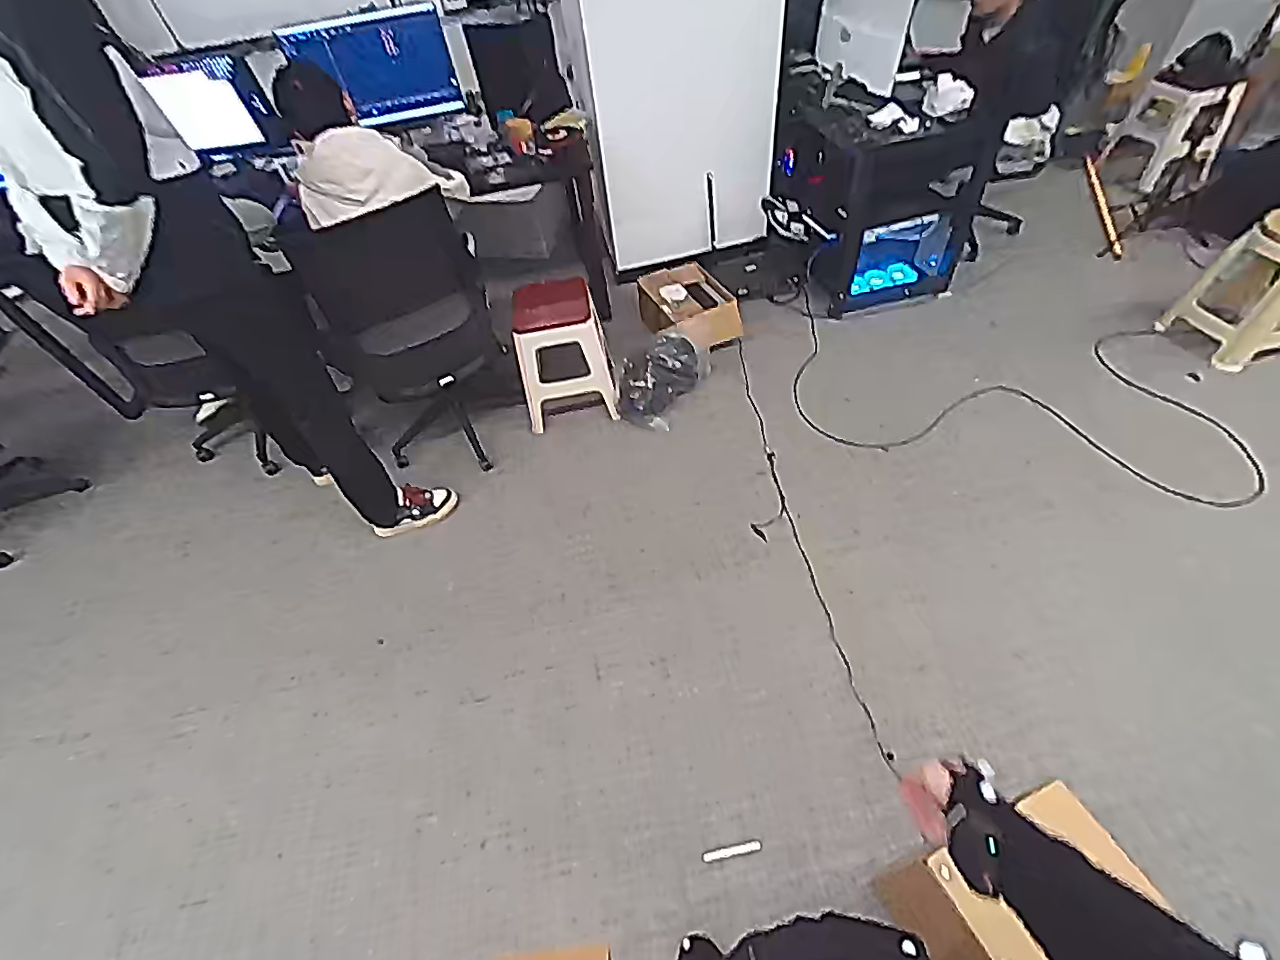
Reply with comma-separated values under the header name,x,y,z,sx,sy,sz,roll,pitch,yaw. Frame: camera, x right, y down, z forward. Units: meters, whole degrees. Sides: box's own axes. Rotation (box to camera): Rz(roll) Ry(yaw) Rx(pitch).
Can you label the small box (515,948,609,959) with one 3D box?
name,x,y,z,sx,sy,sz,roll,pitch,yaw
small box,-0.115,0.747,0.673,0.168,0.179,0.176,-5,86,-1
